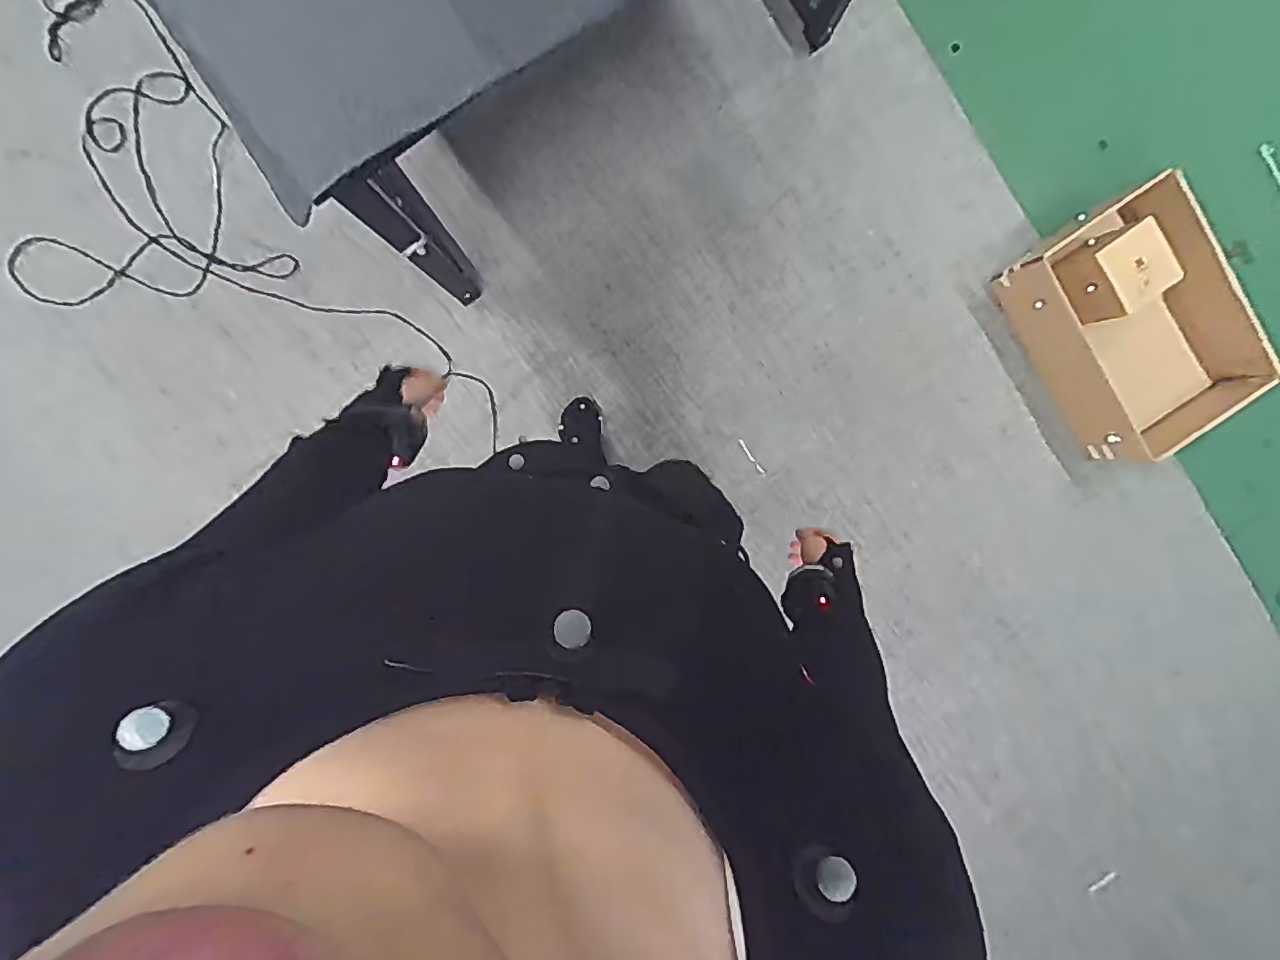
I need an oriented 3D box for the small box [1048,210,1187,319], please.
[{"bbox_3d":[1.185,-0.529,1.358,0.168,0.176,0.179,-35,98,2],"label":"small box"}]
